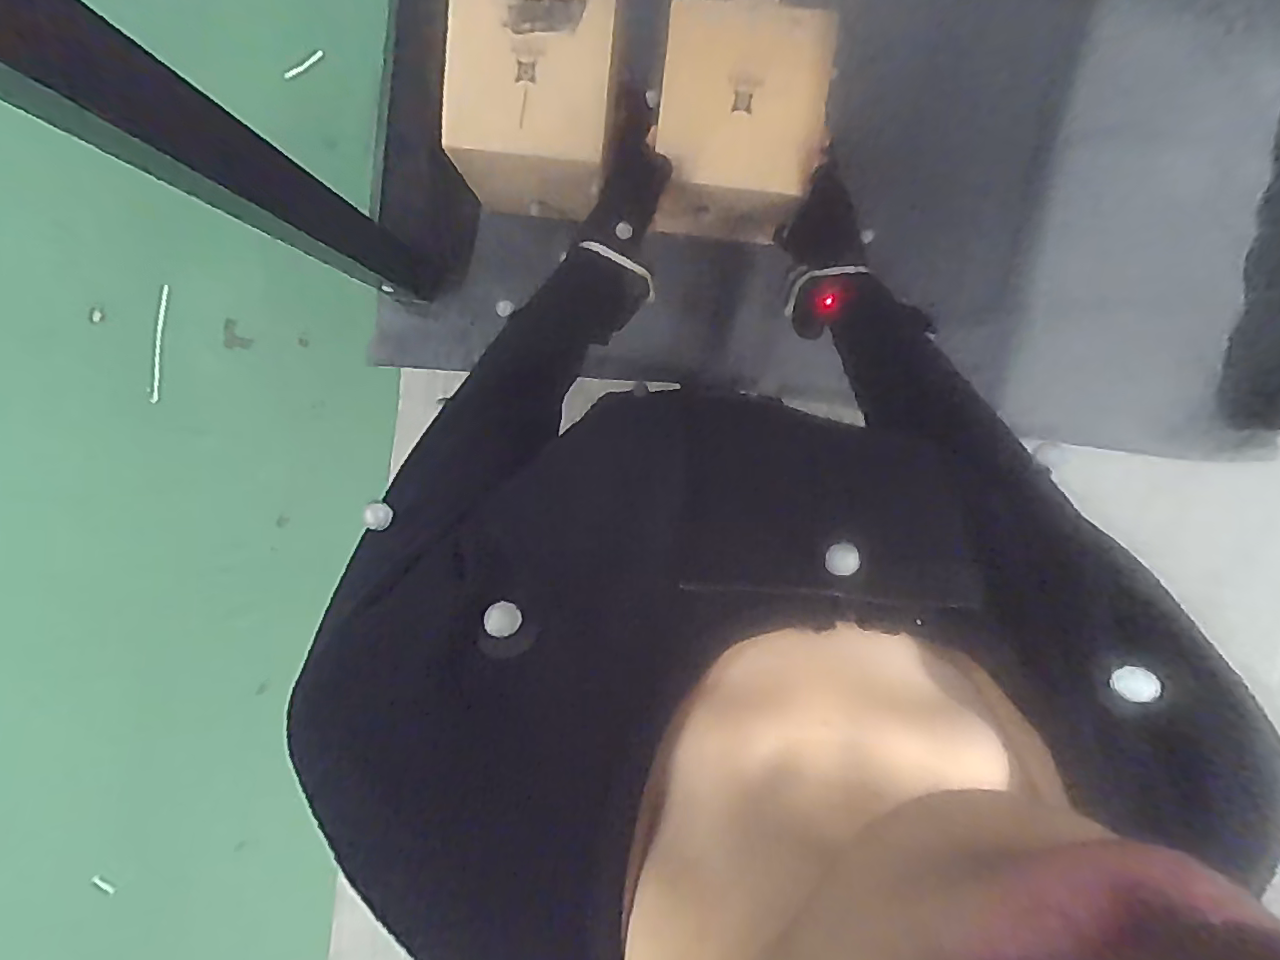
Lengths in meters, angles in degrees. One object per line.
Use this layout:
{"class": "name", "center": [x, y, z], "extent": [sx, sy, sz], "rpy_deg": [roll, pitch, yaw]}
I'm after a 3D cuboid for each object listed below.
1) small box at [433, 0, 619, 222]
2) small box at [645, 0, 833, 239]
{"class": "small box", "center": [-0.116, -0.422, 0.615], "extent": [0.168, 0.176, 0.179], "rpy_deg": [7, 96, 0]}
{"class": "small box", "center": [0.100, -0.393, 0.614], "extent": [0.168, 0.176, 0.179], "rpy_deg": [7, 97, 1]}
